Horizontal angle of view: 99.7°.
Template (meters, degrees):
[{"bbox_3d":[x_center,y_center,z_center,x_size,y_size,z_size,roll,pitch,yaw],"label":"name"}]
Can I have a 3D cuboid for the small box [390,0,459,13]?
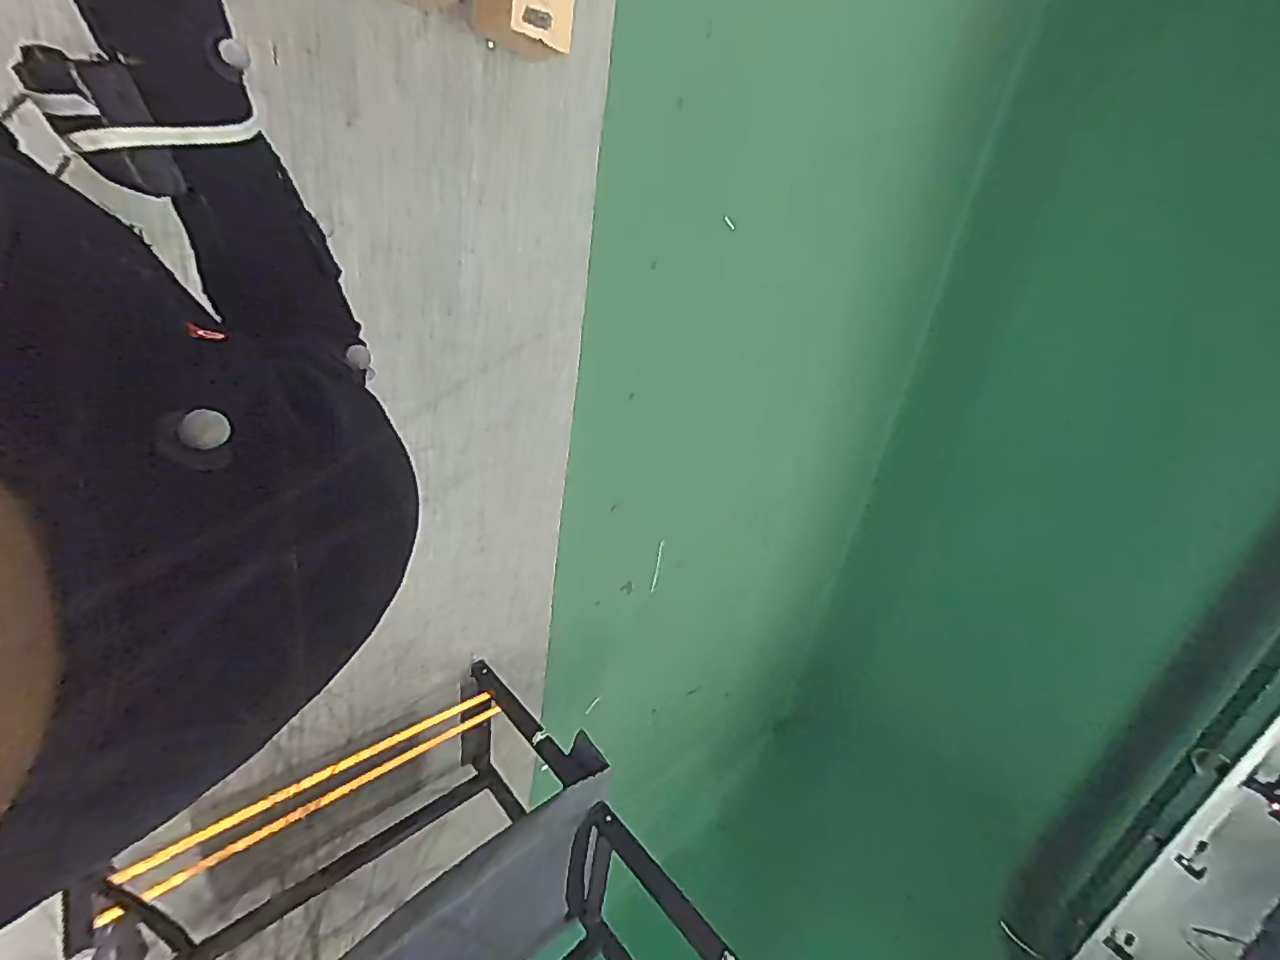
[{"bbox_3d":[-0.471,-1.079,1.076,0.168,0.176,0.179,-12,122,-45],"label":"small box"}]

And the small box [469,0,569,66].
[{"bbox_3d":[-0.286,-1.108,1.269,0.168,0.176,0.179,-12,121,-45],"label":"small box"}]
